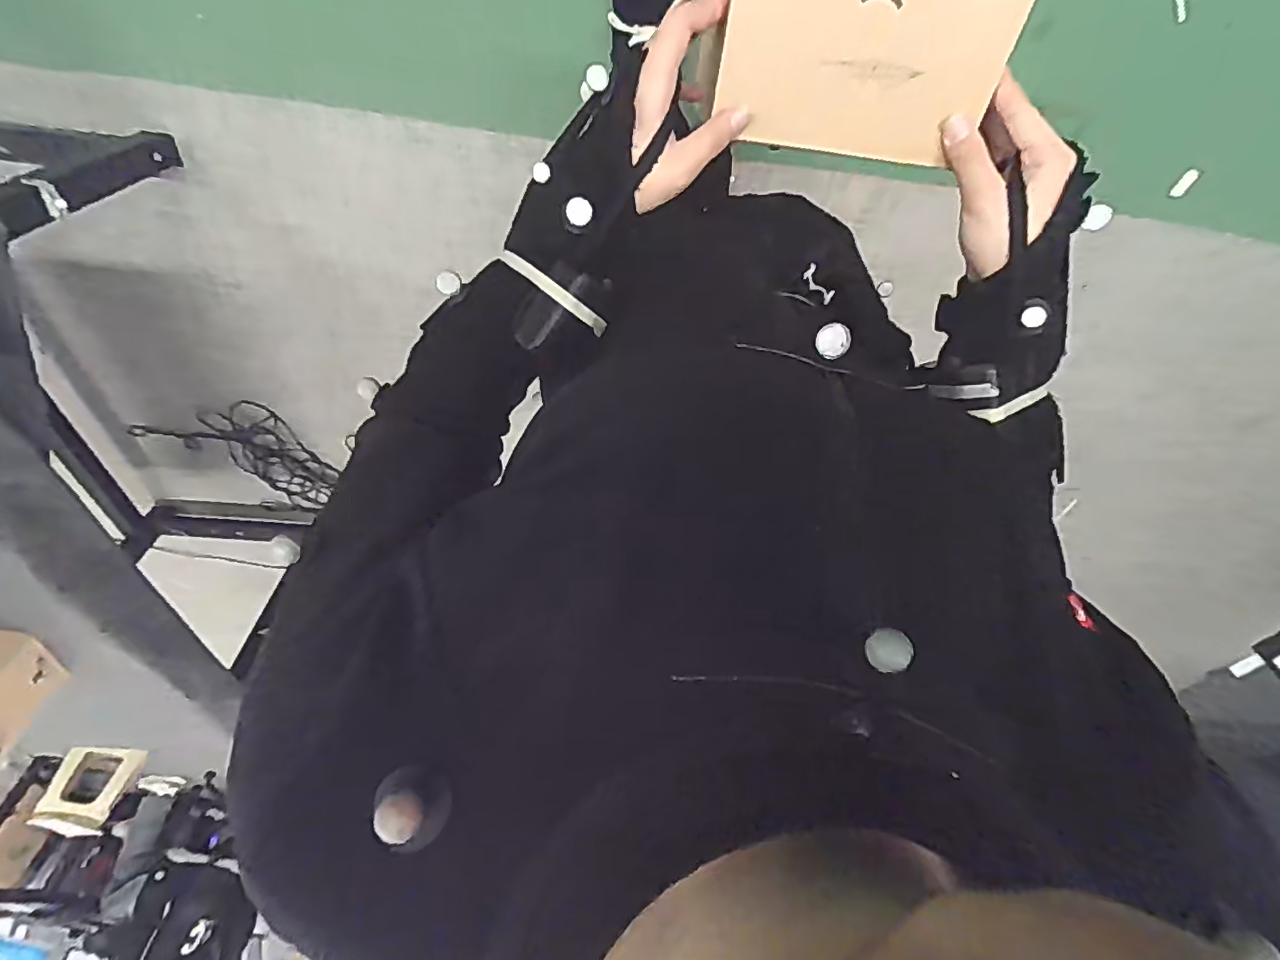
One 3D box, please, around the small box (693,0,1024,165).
[{"bbox_3d":[0.131,-0.330,0.348,0.168,0.176,0.179,6,131,-4],"label":"small box"}]
